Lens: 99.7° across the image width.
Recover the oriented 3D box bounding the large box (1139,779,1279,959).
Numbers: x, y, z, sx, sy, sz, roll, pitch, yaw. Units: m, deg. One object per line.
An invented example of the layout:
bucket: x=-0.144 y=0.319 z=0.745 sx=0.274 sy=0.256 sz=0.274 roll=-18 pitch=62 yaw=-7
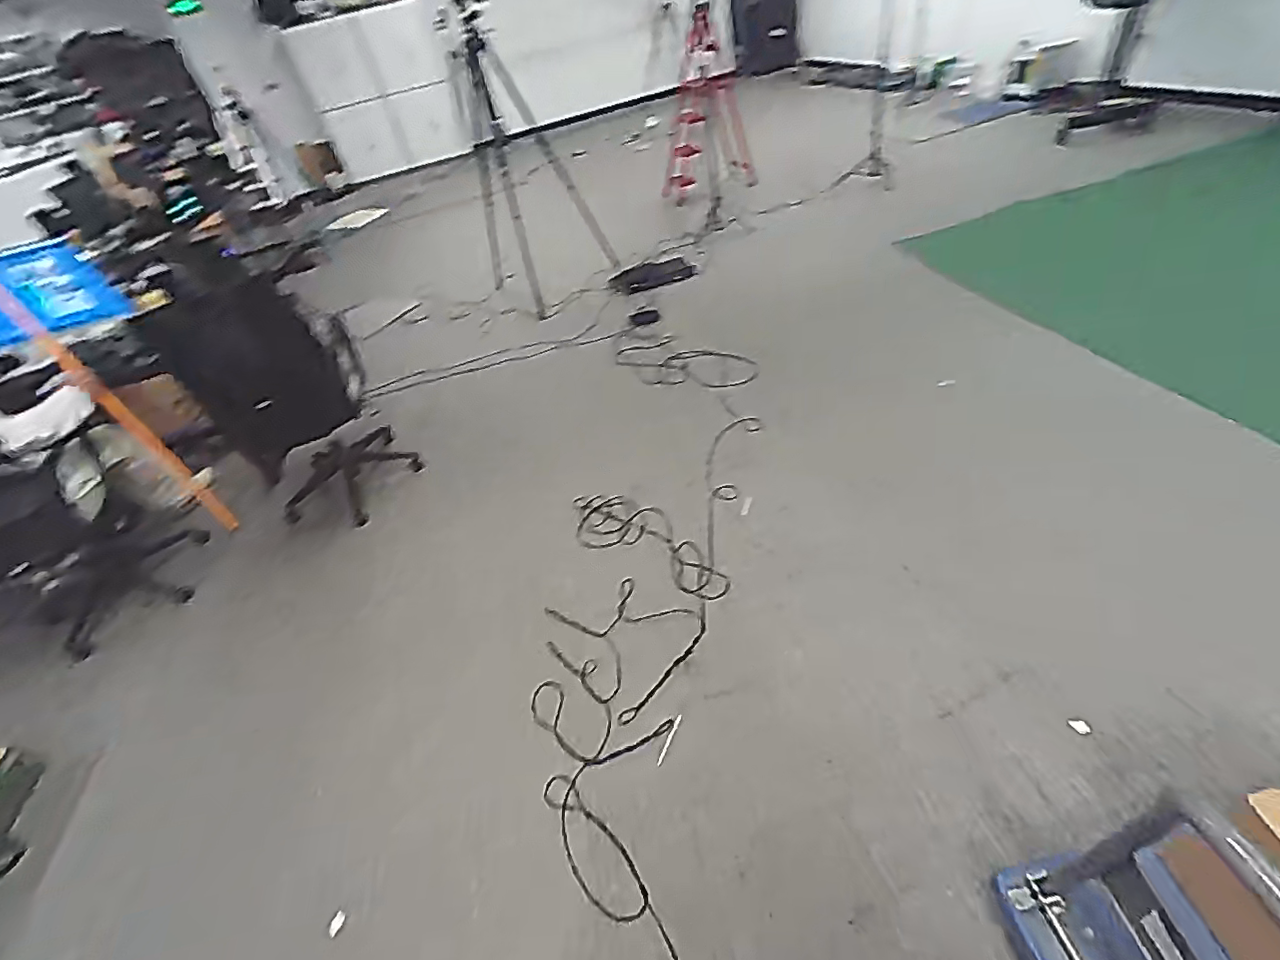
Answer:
large box: x=1.081 y=0.673 z=0.771 sx=0.320 sy=0.320 sz=0.408 roll=-14 pitch=43 yaw=2
